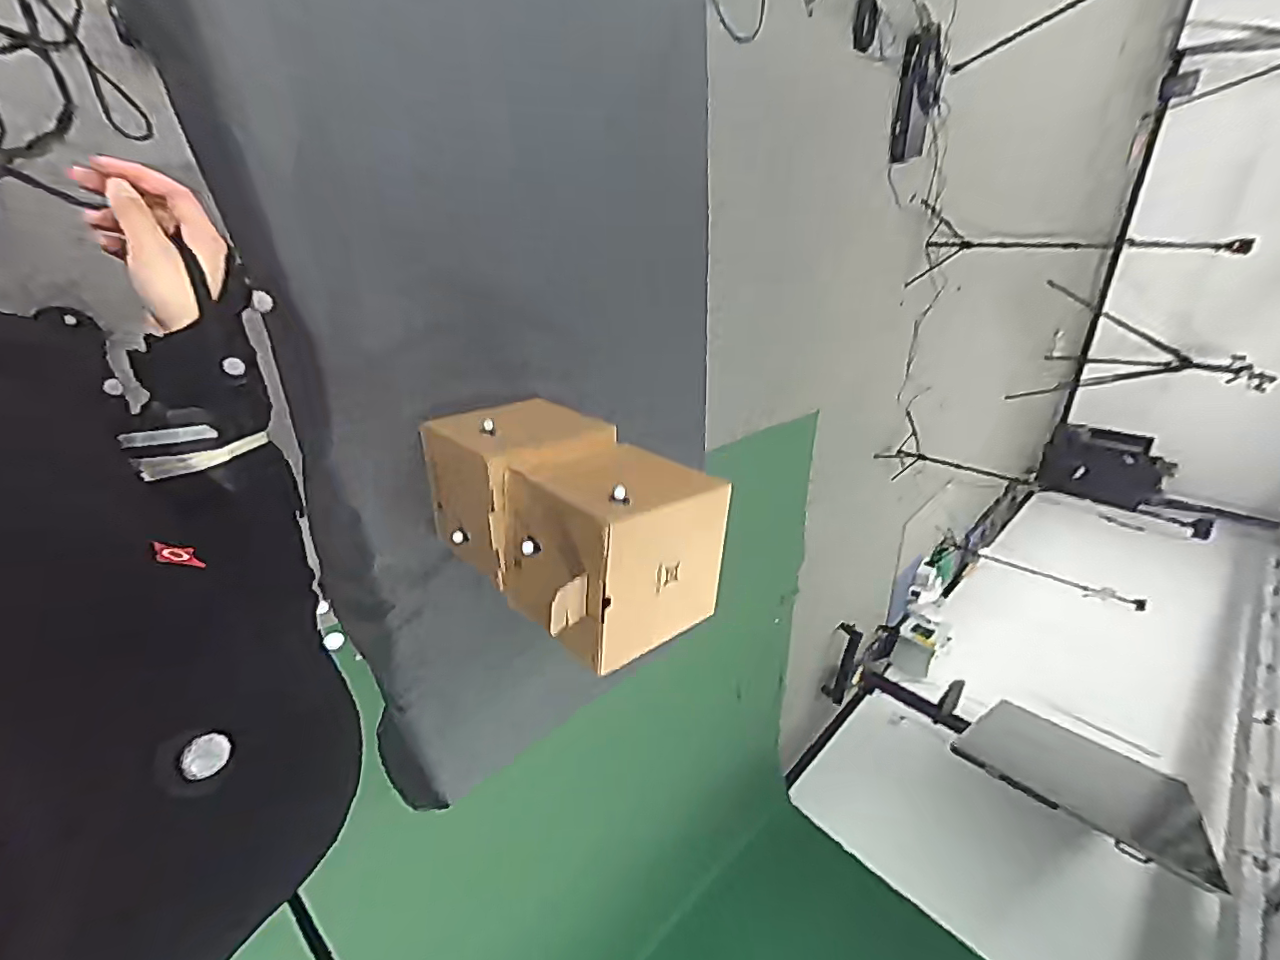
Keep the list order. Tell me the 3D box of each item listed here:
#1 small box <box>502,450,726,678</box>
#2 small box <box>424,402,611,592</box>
[{"bbox_3d":[-0.034,0.074,0.598,0.179,0.176,0.168,-15,119,-42],"label":"small box"},{"bbox_3d":[-0.156,0.008,0.686,0.179,0.176,0.168,-21,123,-40],"label":"small box"}]
